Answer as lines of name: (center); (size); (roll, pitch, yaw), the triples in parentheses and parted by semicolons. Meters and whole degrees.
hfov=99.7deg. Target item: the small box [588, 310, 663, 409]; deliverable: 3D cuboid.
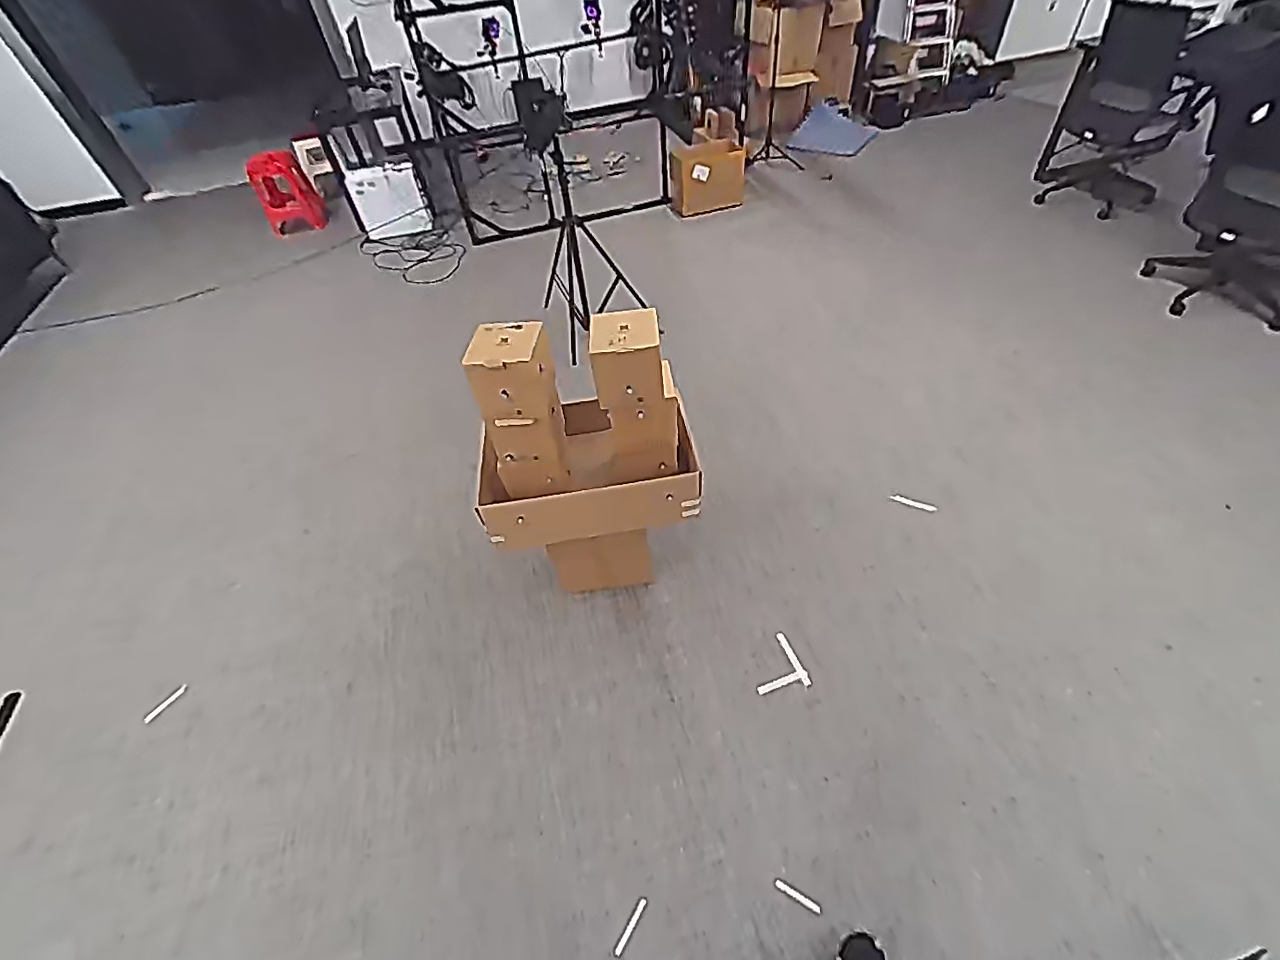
small box: (-0.032, -0.299, 1.352); (0.168, 0.176, 0.179); (-6, 47, 3)

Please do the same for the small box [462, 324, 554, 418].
small box: (-0.321, -0.268, 1.354); (0.168, 0.176, 0.179); (-1, 48, 6)

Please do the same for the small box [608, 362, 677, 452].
small box: (0.005, -0.197, 1.477); (0.179, 0.176, 0.168); (-8, 47, 0)

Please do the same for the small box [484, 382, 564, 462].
small box: (-0.309, -0.161, 1.479); (0.168, 0.176, 0.179); (-4, 46, 3)
